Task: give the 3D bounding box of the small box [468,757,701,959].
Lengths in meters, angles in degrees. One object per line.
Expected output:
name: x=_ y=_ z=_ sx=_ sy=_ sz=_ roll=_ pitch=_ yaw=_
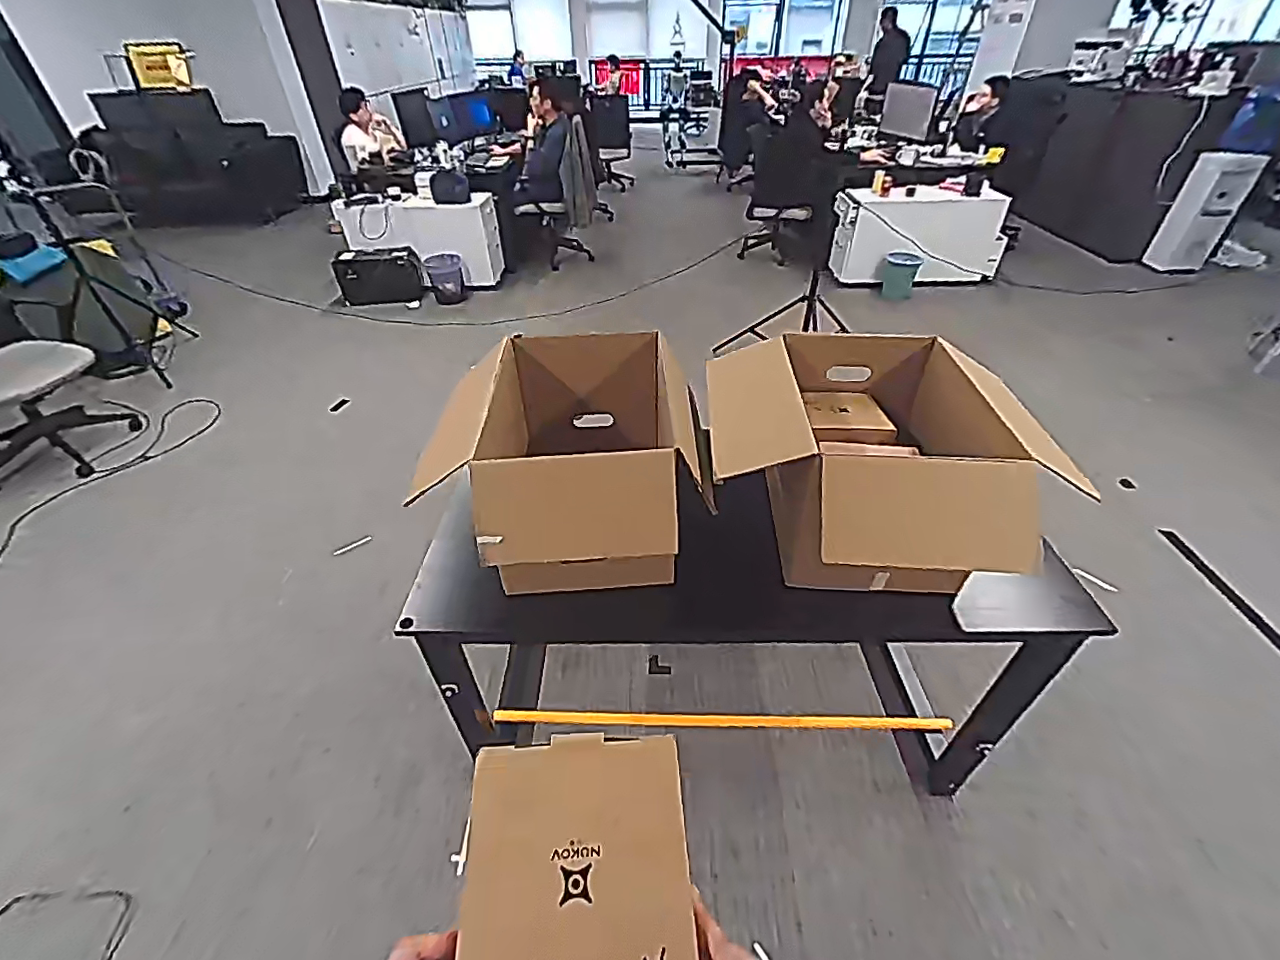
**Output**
small box: x=-0.043 y=0.357 z=0.464 sx=0.168 sy=0.176 sz=0.179 roll=-3 pitch=51 yaw=-3
